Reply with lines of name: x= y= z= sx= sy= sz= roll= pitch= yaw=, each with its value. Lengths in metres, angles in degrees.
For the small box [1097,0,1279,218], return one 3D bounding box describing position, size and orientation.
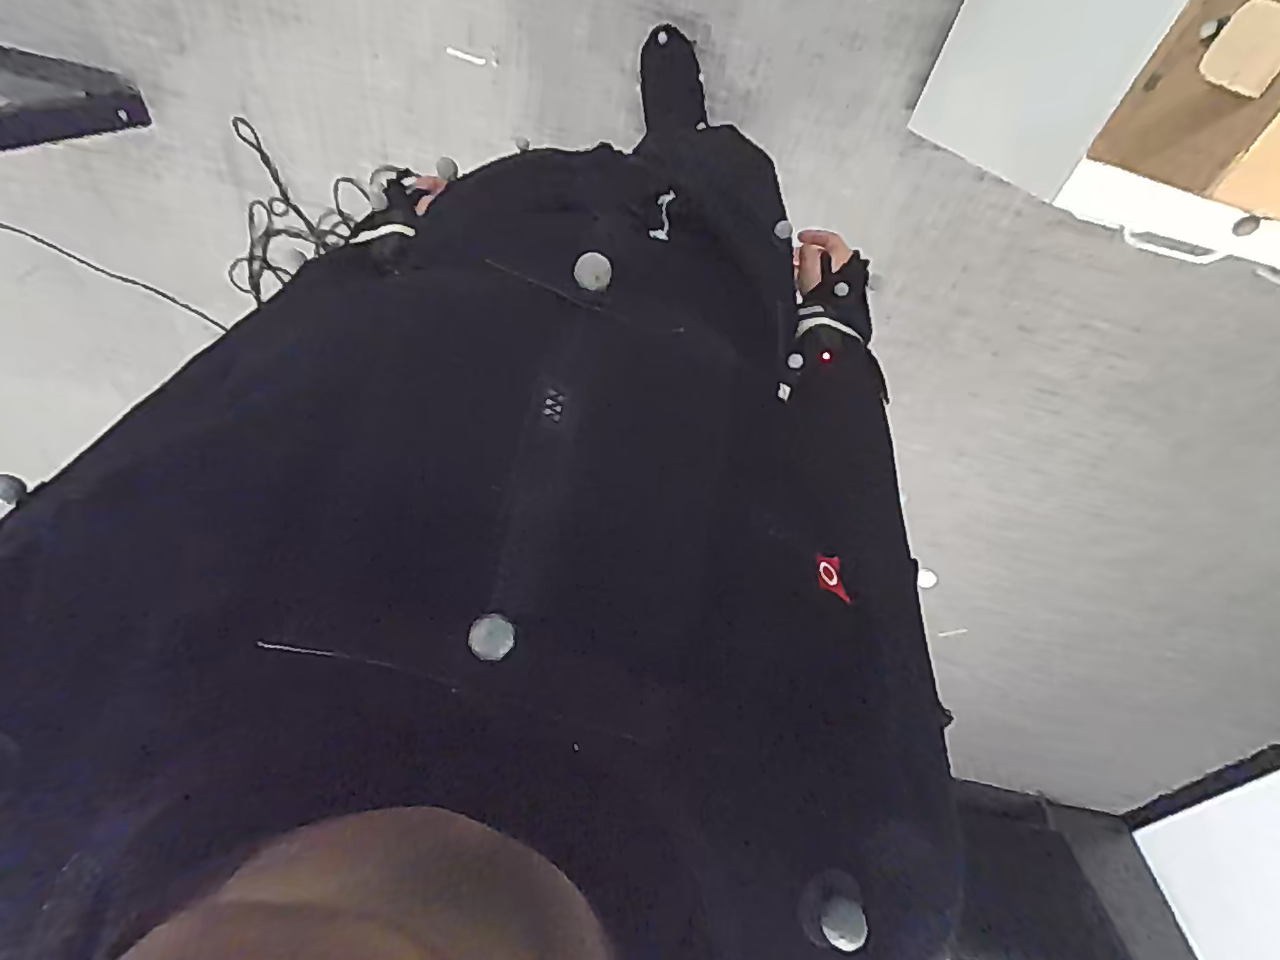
small box: x=0.519 y=-0.300 z=0.407 sx=0.179 sy=0.176 sz=0.168 roll=14 pitch=130 yaw=-4
